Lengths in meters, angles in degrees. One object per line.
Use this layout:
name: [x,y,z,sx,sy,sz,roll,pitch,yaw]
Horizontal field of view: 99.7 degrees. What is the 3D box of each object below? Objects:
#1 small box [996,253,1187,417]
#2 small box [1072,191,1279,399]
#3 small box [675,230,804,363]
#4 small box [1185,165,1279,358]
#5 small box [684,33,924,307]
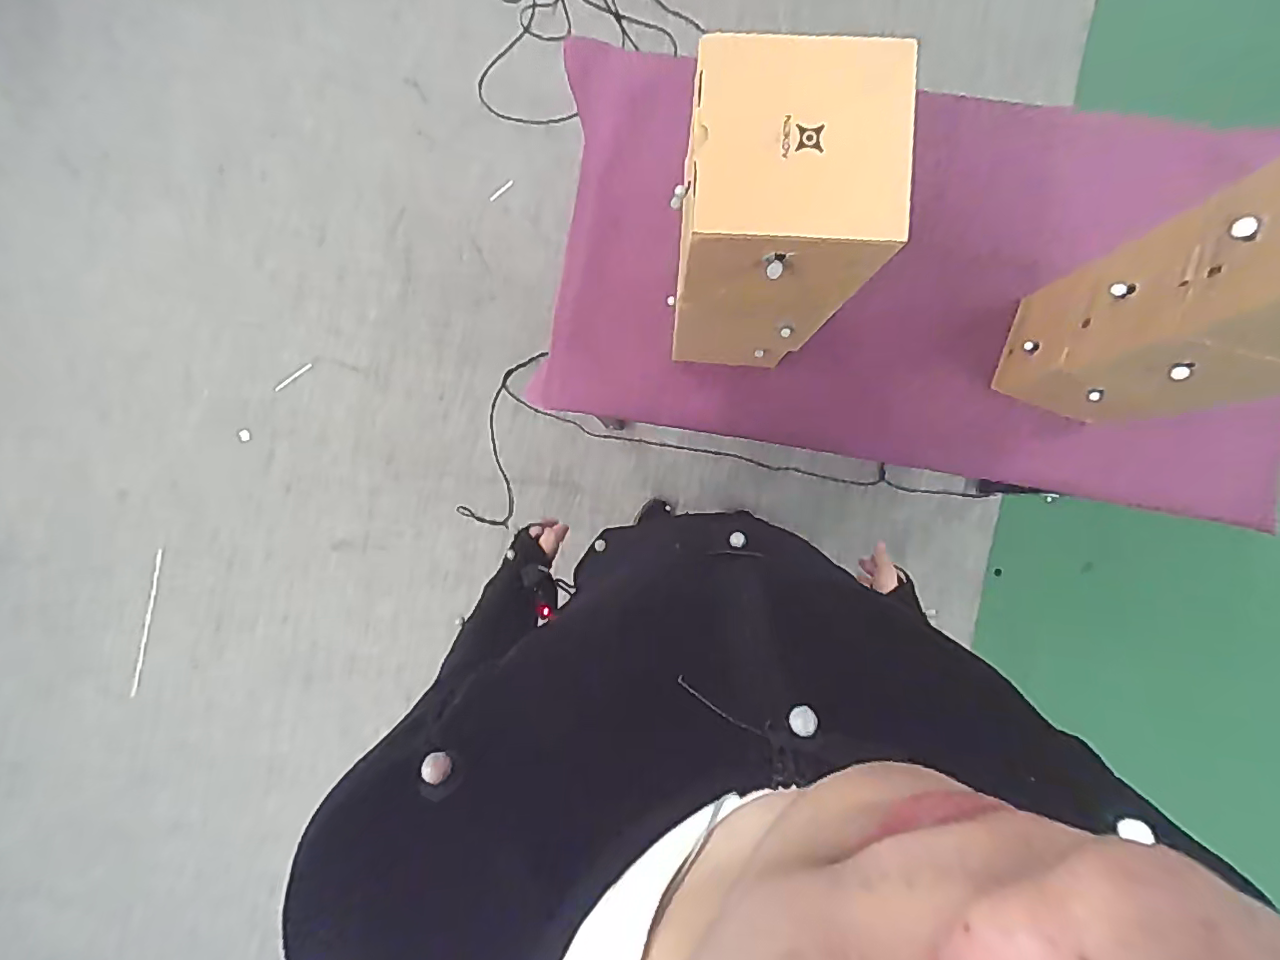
small box: [0.687,-0.204,0.815,0.179,0.176,0.168,21,90,2]
small box: [0.680,-0.206,0.651,0.179,0.176,0.168,18,90,4]
small box: [0.149,-0.284,0.839,0.179,0.176,0.168,5,89,3]
small box: [0.674,-0.211,0.487,0.179,0.176,0.168,17,90,4]
small box: [0.137,-0.272,0.512,0.179,0.176,0.168,3,90,2]
